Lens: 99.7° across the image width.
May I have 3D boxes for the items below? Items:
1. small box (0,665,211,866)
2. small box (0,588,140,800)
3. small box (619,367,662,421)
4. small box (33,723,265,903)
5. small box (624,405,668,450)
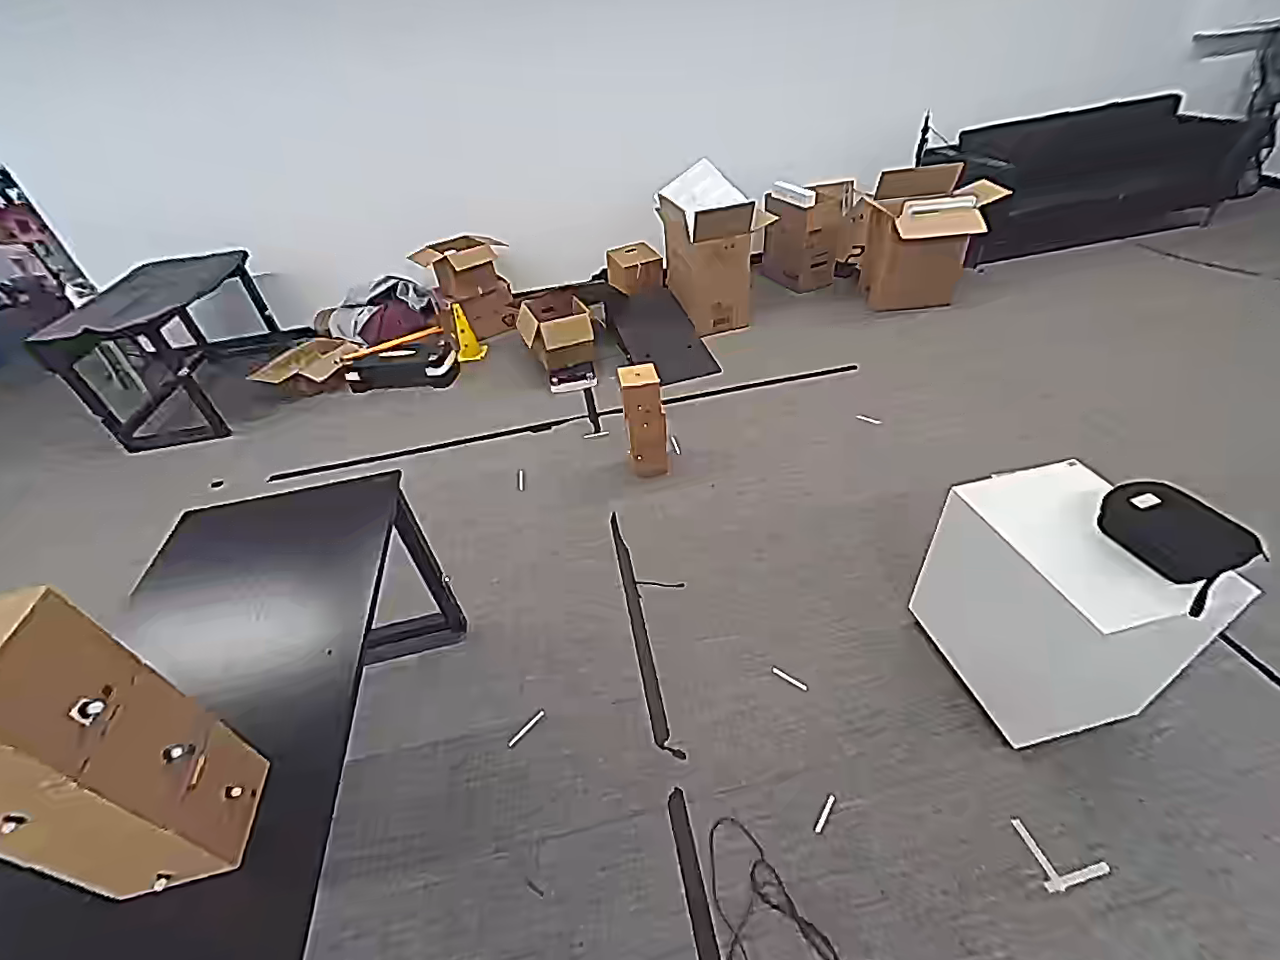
[{"bbox_3d":[-0.740,0.382,0.723,0.179,0.176,0.168,-12,40,-6],"label":"small box"},{"bbox_3d":[-0.755,0.256,0.621,0.179,0.176,0.168,-12,41,-7],"label":"small box"},{"bbox_3d":[0.001,-0.386,2.433,0.168,0.176,0.179,-9,40,-4],"label":"small box"},{"bbox_3d":[-0.723,0.509,0.828,0.179,0.176,0.168,-12,39,-7],"label":"small box"},{"bbox_3d":[0.027,-0.259,2.532,0.179,0.176,0.168,-10,39,-6],"label":"small box"}]
